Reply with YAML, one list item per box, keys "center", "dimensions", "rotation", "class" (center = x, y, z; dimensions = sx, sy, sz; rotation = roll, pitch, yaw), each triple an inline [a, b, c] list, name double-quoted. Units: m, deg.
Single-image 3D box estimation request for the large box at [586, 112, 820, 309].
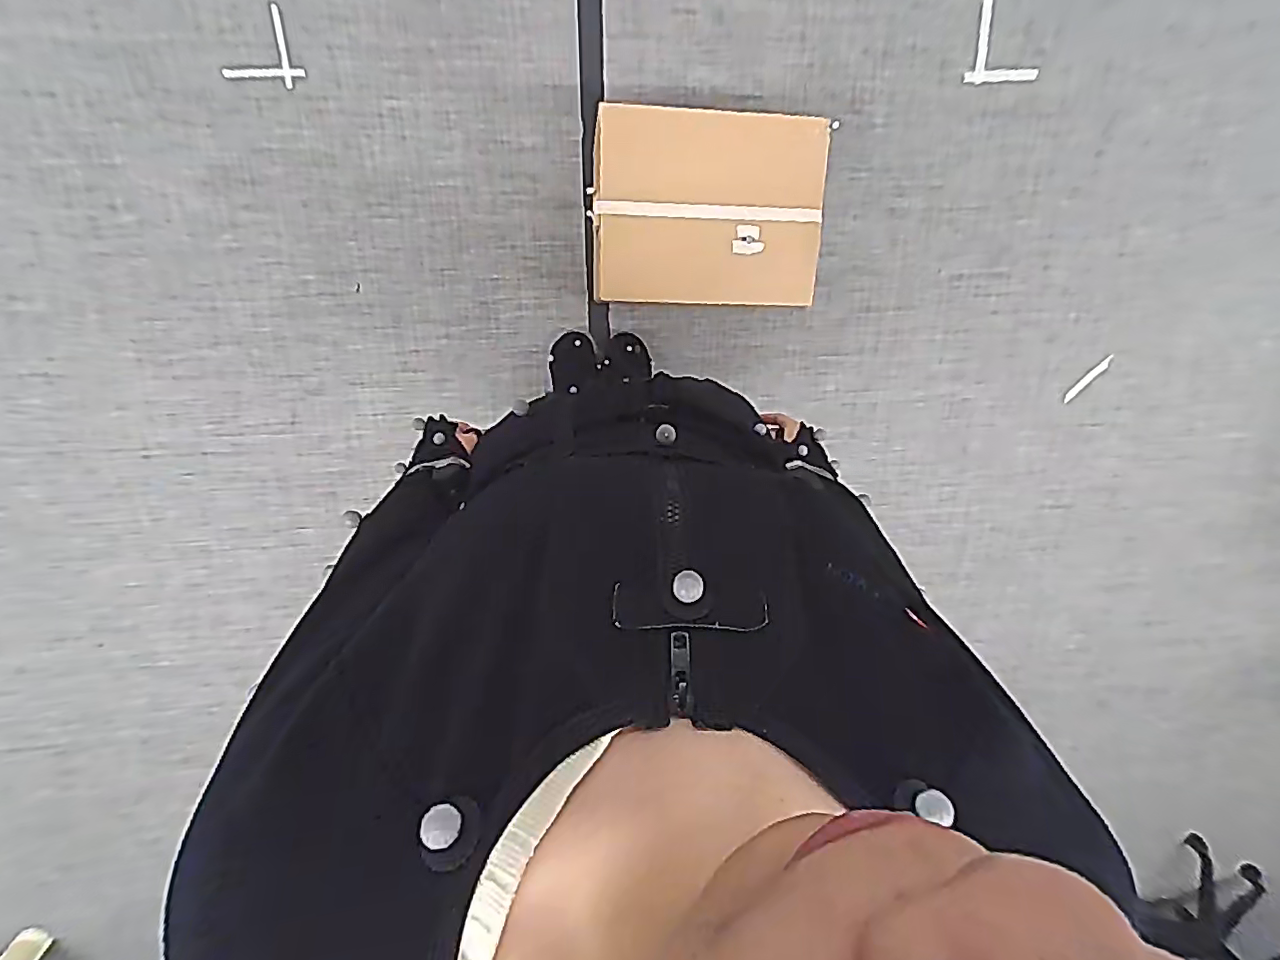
- center: [0.099, -0.515, 1.108]
  dimensions: [0.408, 0.320, 0.320]
  rotation: [-1, 108, -8]
  class: "large box"
